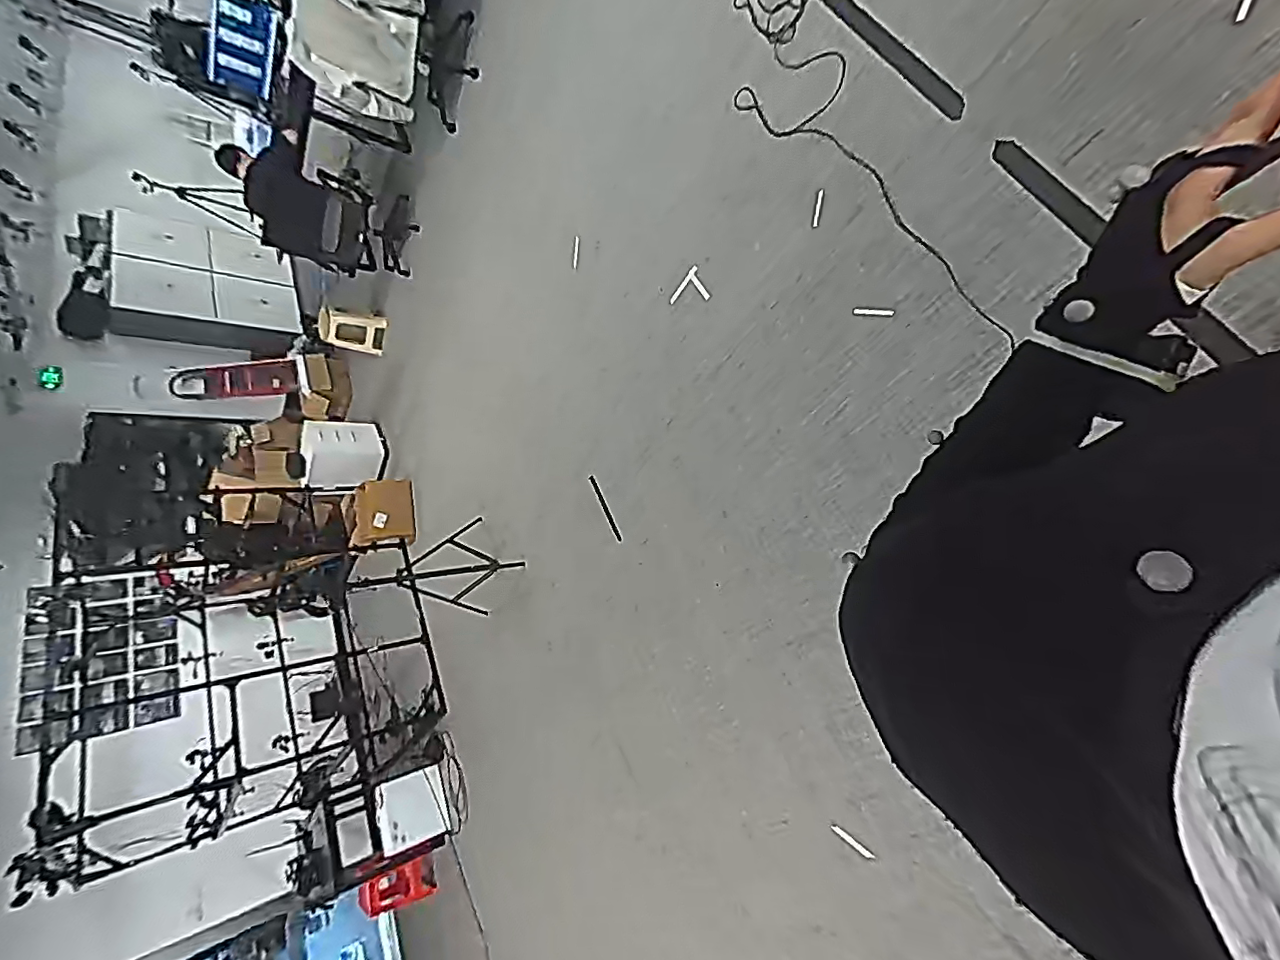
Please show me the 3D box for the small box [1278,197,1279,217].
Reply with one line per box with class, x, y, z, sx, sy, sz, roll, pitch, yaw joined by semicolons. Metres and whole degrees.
small box;0.454;-0.231;0.258;0.179;0.176;0.168;10;104;46
